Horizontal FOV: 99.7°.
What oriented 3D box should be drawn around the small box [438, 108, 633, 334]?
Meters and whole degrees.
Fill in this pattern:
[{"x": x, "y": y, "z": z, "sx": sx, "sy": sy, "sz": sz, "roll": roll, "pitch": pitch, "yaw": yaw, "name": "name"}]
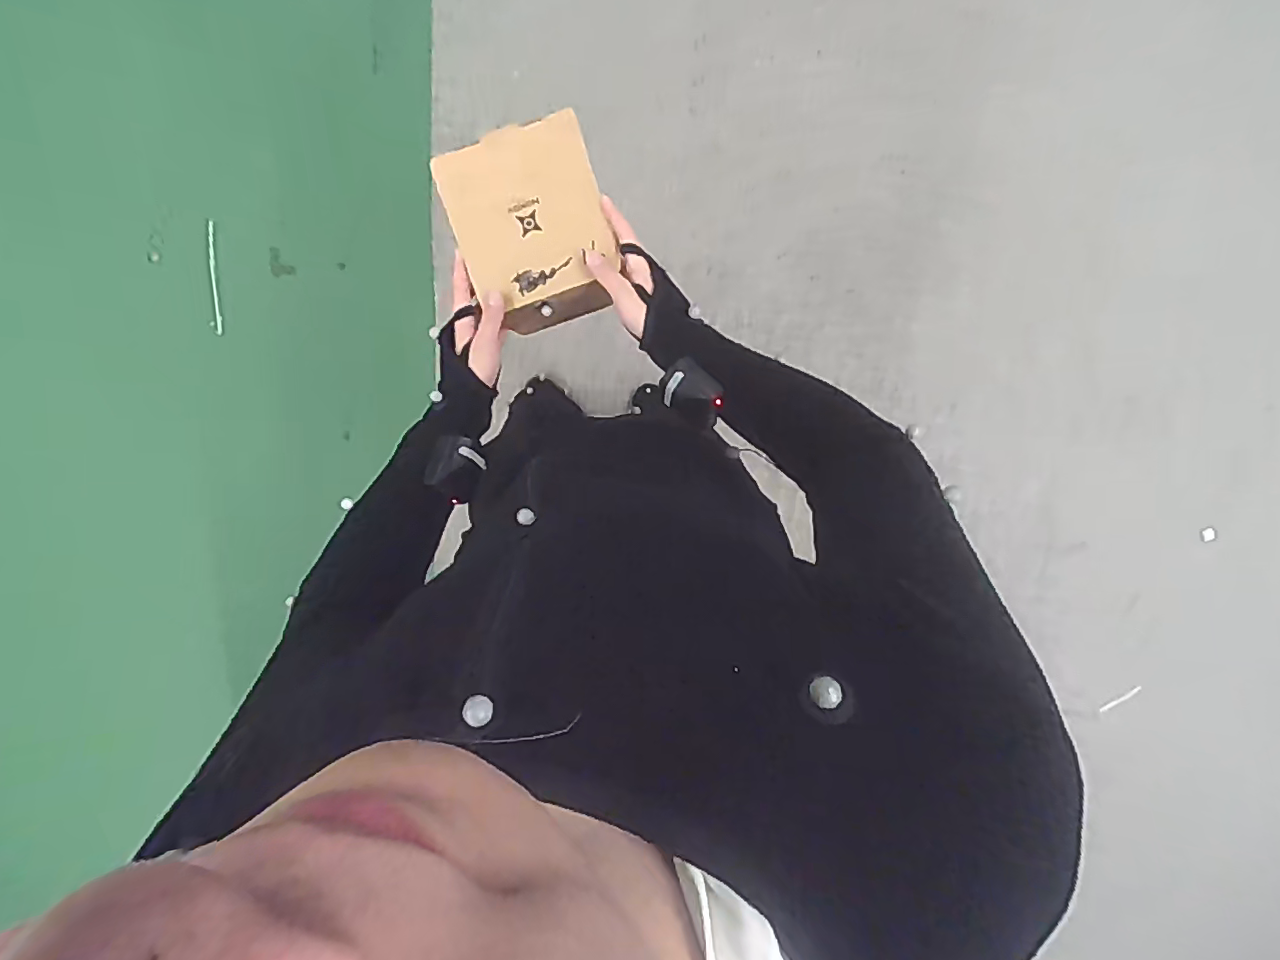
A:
[{"x": -0.111, "y": -0.291, "z": 0.649, "sx": 0.168, "sy": 0.176, "sz": 0.179, "roll": -17, "pitch": 98, "yaw": 4, "name": "small box"}]
